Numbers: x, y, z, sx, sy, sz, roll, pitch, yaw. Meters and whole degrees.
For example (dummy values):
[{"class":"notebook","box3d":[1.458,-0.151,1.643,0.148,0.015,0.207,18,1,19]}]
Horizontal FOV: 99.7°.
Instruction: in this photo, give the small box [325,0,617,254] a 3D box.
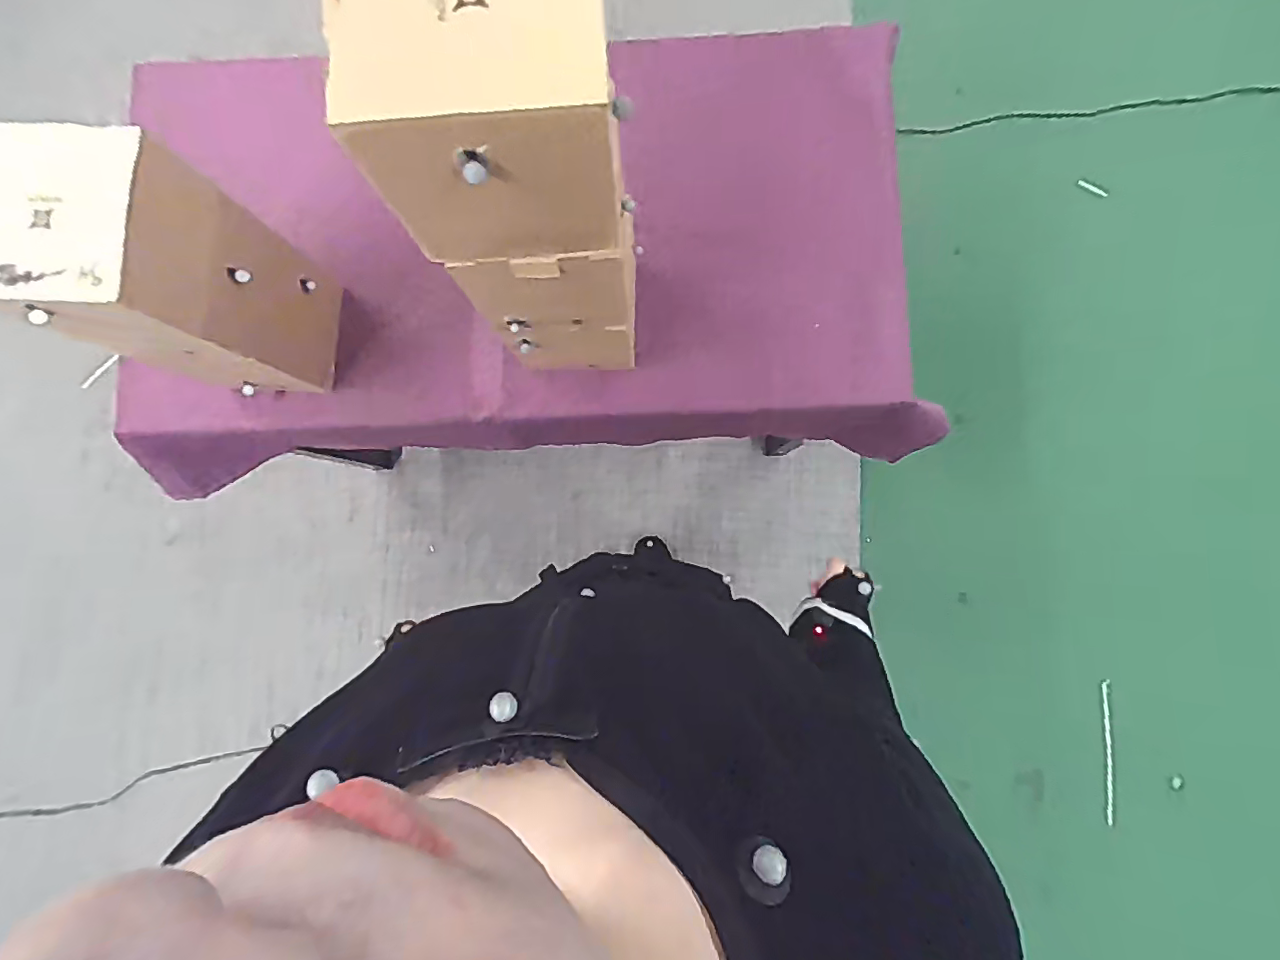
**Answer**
[{"class":"small box","box3d":[-0.110,-0.296,0.418,0.179,0.176,0.168,-4,85,2]}]

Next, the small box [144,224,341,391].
[{"class":"small box","box3d":[-0.545,-0.233,0.753,0.168,0.176,0.179,3,86,2]}]

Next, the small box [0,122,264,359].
[{"class":"small box","box3d":[-0.551,-0.247,0.588,0.168,0.176,0.179,3,84,3]}]

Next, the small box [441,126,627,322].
[{"class":"small box","box3d":[-0.102,-0.279,0.580,0.168,0.176,0.179,-3,84,1]}]
